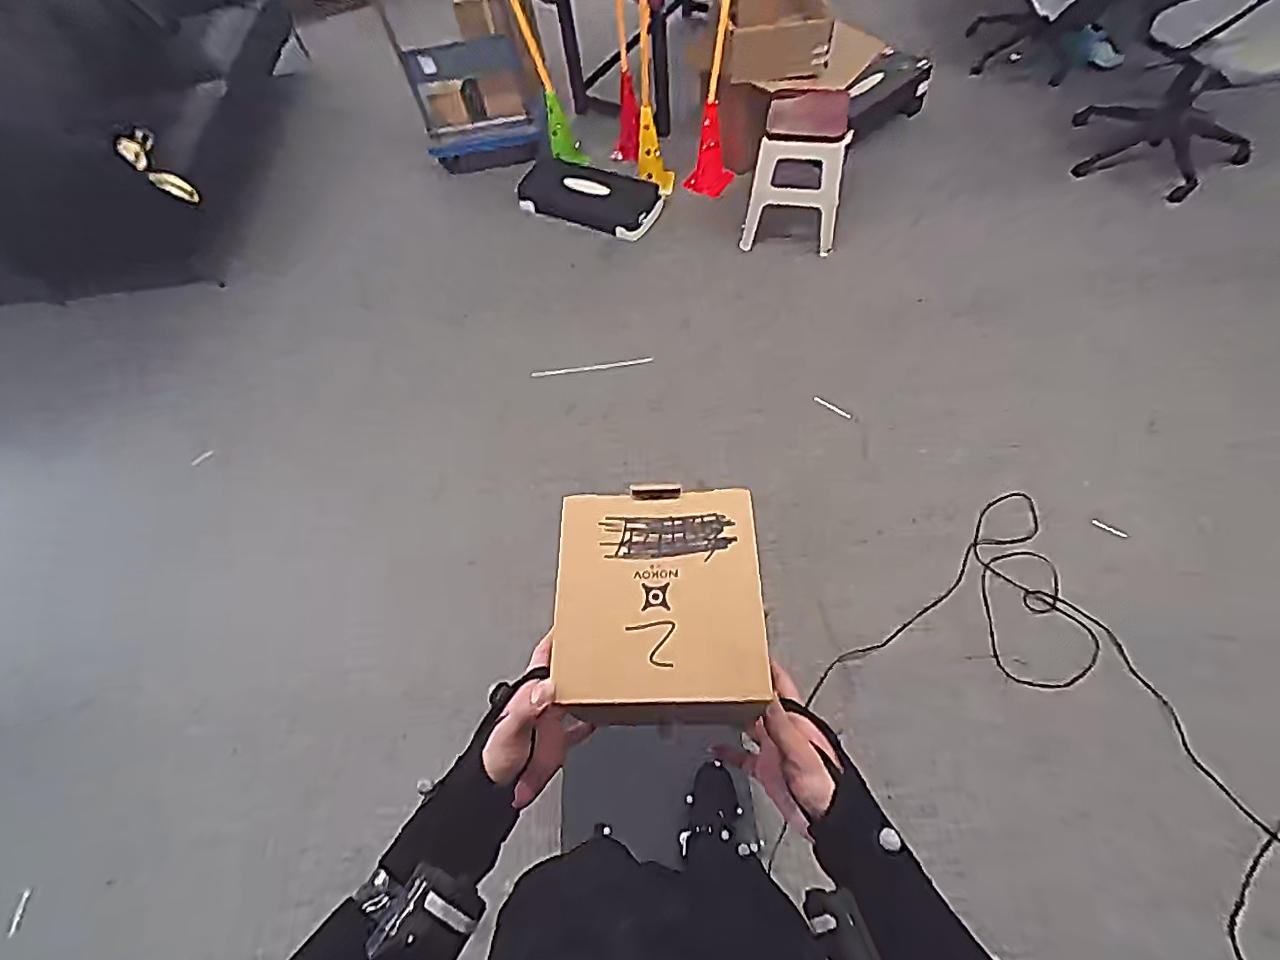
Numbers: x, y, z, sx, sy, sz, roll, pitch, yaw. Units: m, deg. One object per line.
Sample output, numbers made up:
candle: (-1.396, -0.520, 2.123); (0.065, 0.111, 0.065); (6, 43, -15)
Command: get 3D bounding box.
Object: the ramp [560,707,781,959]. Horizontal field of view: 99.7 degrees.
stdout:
ramp: (0.061, 1.042, 1.197); (0.509, 0.206, 0.991); (-9, 60, 3)
